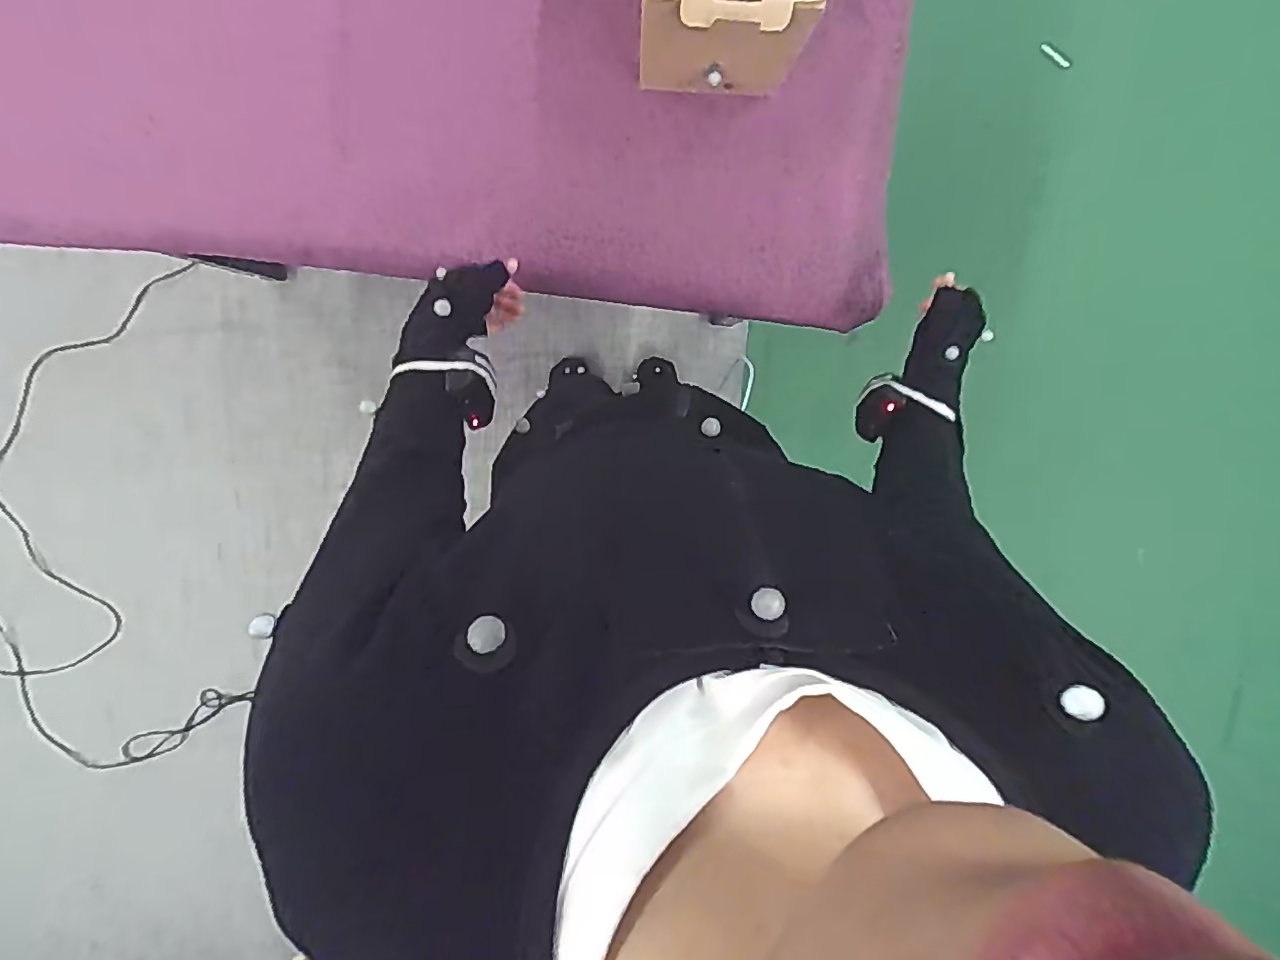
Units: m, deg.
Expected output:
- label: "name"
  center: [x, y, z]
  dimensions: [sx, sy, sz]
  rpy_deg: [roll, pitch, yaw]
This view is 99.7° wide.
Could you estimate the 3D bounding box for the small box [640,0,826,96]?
- label: "small box"
  center: [0.088, -0.531, 0.545]
  dimensions: [0.168, 0.176, 0.179]
  rpy_deg: [2, 102, -2]
